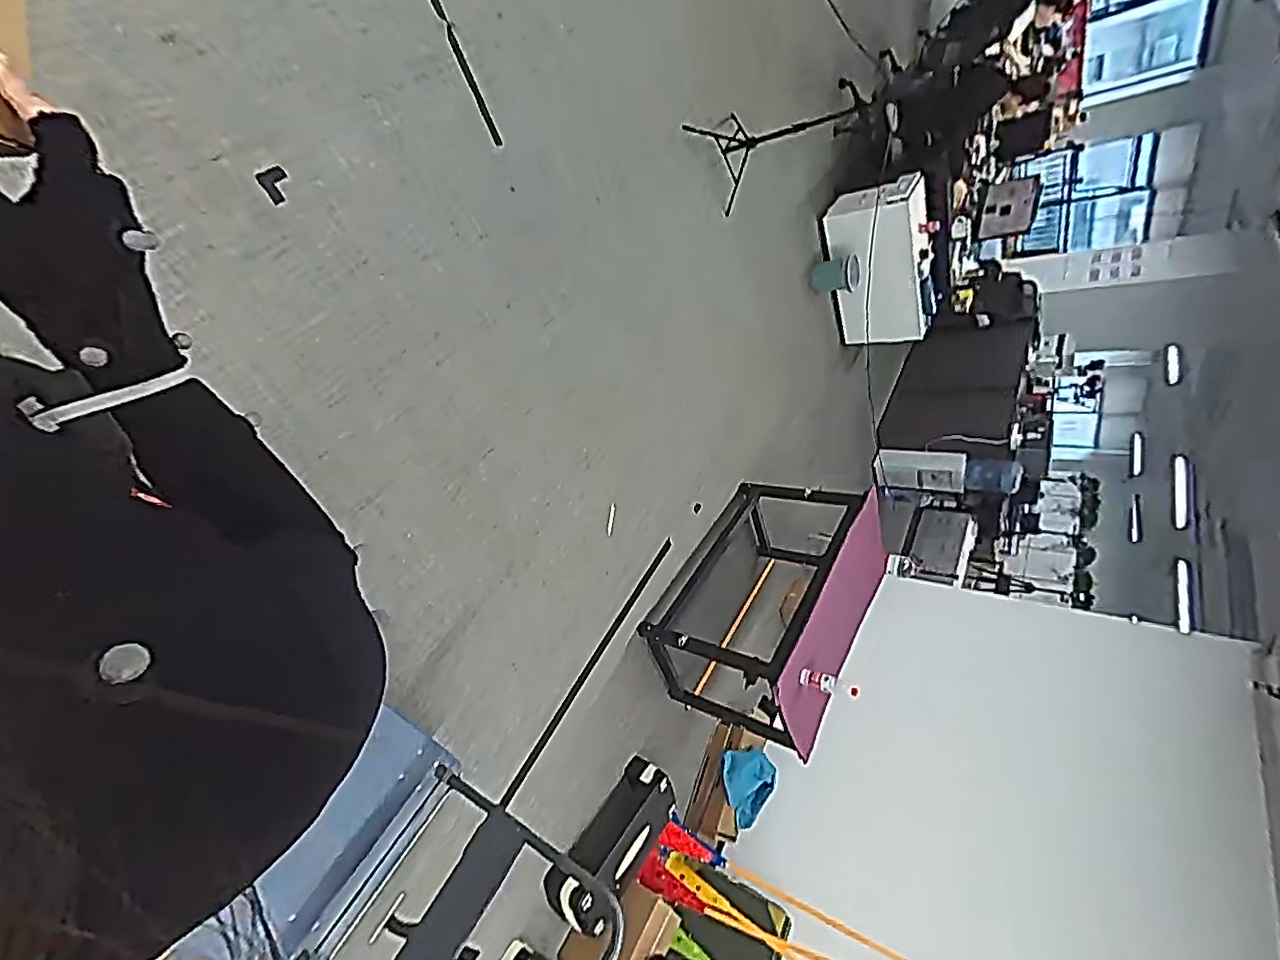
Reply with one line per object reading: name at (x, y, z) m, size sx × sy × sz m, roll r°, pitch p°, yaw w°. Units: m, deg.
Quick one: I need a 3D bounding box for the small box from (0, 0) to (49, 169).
small box at (-0.436, -0.260, 0.235) m, size 0.179 × 0.168 × 0.176 m, roll -36°, pitch 127°, yaw -81°
